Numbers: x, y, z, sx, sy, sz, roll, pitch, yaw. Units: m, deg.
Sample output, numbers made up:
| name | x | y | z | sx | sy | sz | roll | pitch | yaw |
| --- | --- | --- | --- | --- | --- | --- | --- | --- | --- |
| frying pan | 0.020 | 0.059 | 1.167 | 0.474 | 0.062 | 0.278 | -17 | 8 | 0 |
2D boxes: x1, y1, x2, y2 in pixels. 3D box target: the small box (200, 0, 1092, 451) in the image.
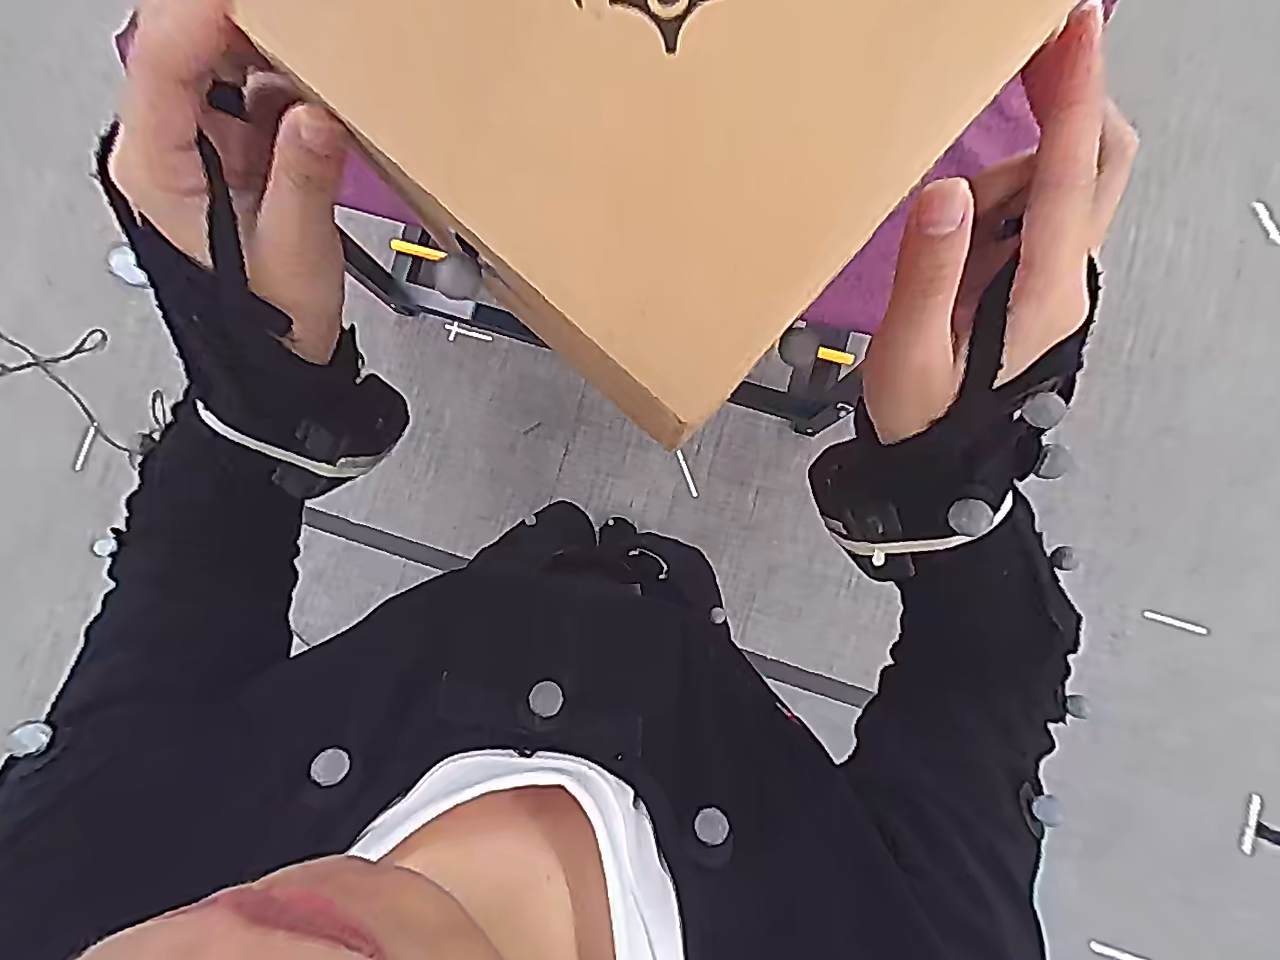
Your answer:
| name | x | y | z | sx | sy | sz | roll | pitch | yaw |
| --- | --- | --- | --- | --- | --- | --- | --- | --- | --- |
| small box | 0.005 | -0.126 | 0.215 | 0.179 | 0.176 | 0.168 | 42 | 92 | 3 |
